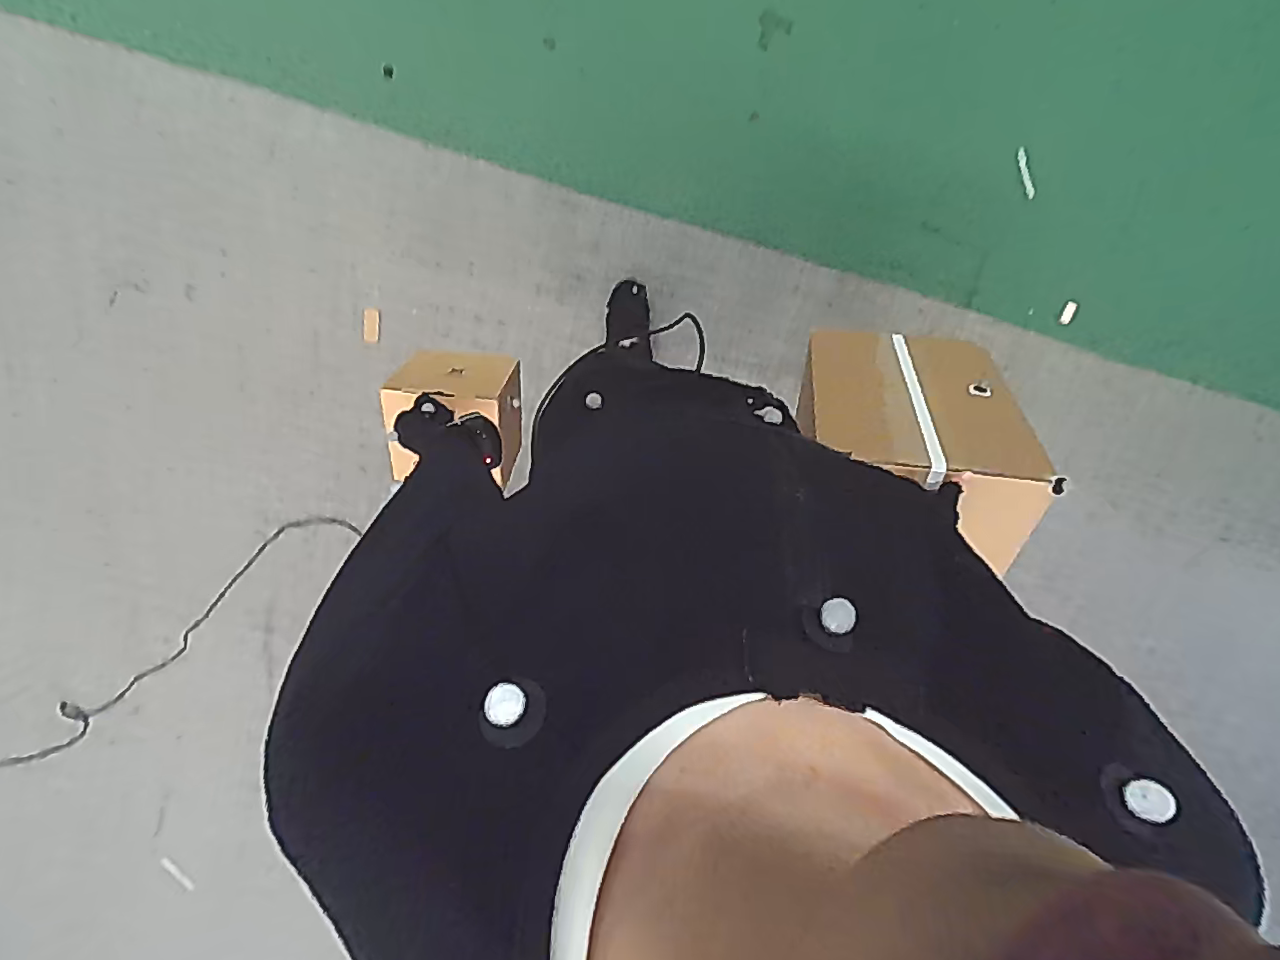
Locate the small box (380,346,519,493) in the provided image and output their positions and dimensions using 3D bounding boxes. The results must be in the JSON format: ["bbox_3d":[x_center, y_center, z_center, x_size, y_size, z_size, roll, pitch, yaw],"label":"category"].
[{"bbox_3d":[-0.294,-0.100,0.872,0.168,0.179,0.176,5,122,-3],"label":"small box"}]
